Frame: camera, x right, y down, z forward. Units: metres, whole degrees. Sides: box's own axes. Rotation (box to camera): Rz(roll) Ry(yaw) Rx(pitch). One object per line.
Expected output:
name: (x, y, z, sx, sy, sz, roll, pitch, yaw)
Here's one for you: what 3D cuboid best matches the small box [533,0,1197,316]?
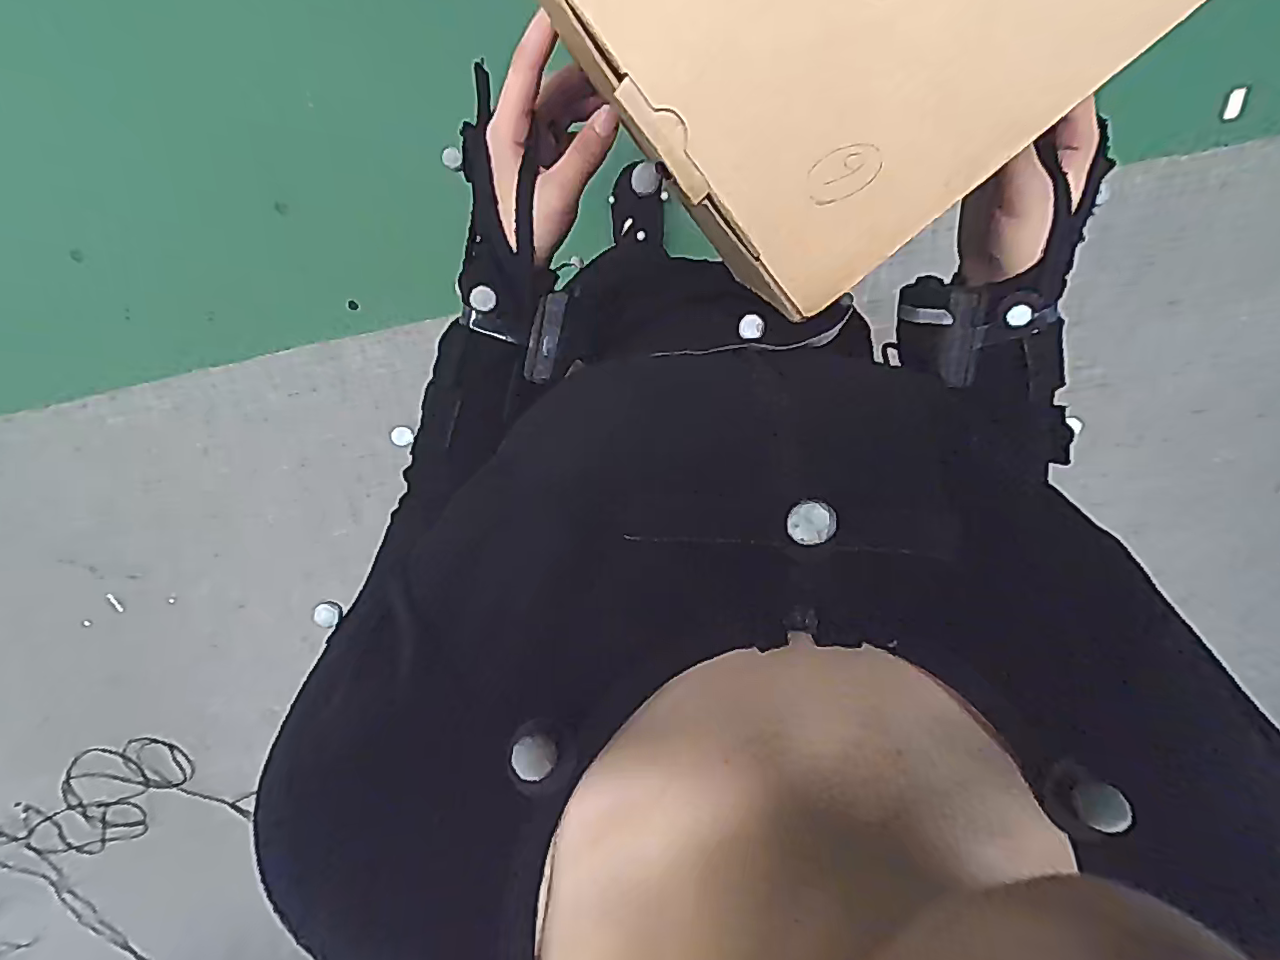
small box: (0.074, -0.200, 0.232, 0.179, 0.176, 0.168, -38, 108, 18)
